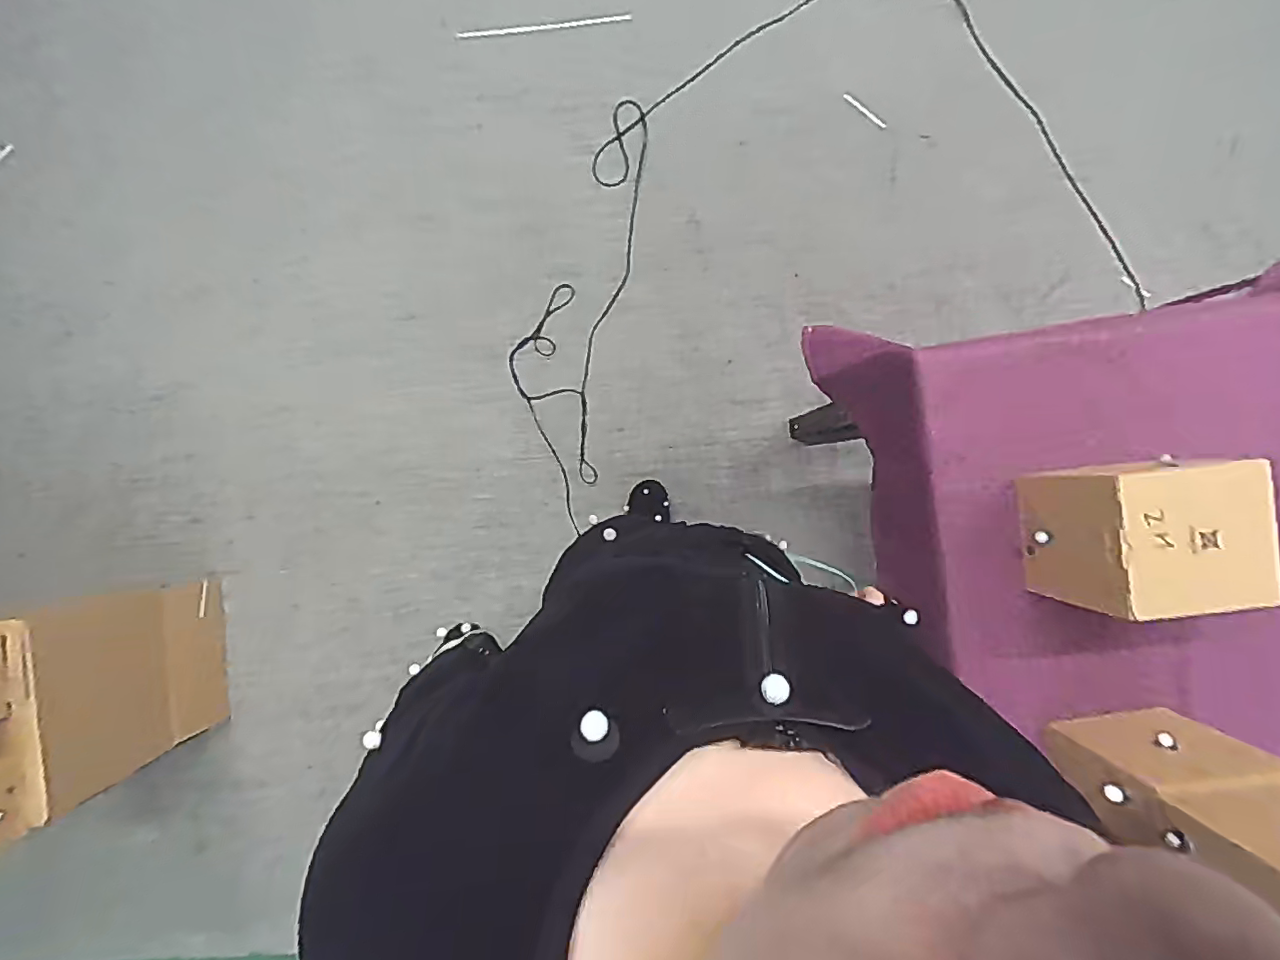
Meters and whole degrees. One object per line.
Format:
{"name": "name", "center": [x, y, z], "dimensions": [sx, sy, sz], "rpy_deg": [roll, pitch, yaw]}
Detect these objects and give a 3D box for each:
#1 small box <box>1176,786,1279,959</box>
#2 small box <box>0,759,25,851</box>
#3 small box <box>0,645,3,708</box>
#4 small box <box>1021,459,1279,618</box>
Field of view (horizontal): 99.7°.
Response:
{"name": "small box", "center": [0.667, 0.418, 0.514], "dimensions": [0.179, 0.176, 0.168], "rpy_deg": [-6, 90, -1]}
{"name": "small box", "center": [-1.282, 0.625, 0.969], "dimensions": [0.179, 0.176, 0.168], "rpy_deg": [-4, 89, -1]}
{"name": "small box", "center": [-1.313, 0.390, 0.967], "dimensions": [0.179, 0.176, 0.168], "rpy_deg": [-1, 91, 1]}
{"name": "small box", "center": [0.627, 0.063, 0.678], "dimensions": [0.179, 0.176, 0.168], "rpy_deg": [-6, 90, 0]}
